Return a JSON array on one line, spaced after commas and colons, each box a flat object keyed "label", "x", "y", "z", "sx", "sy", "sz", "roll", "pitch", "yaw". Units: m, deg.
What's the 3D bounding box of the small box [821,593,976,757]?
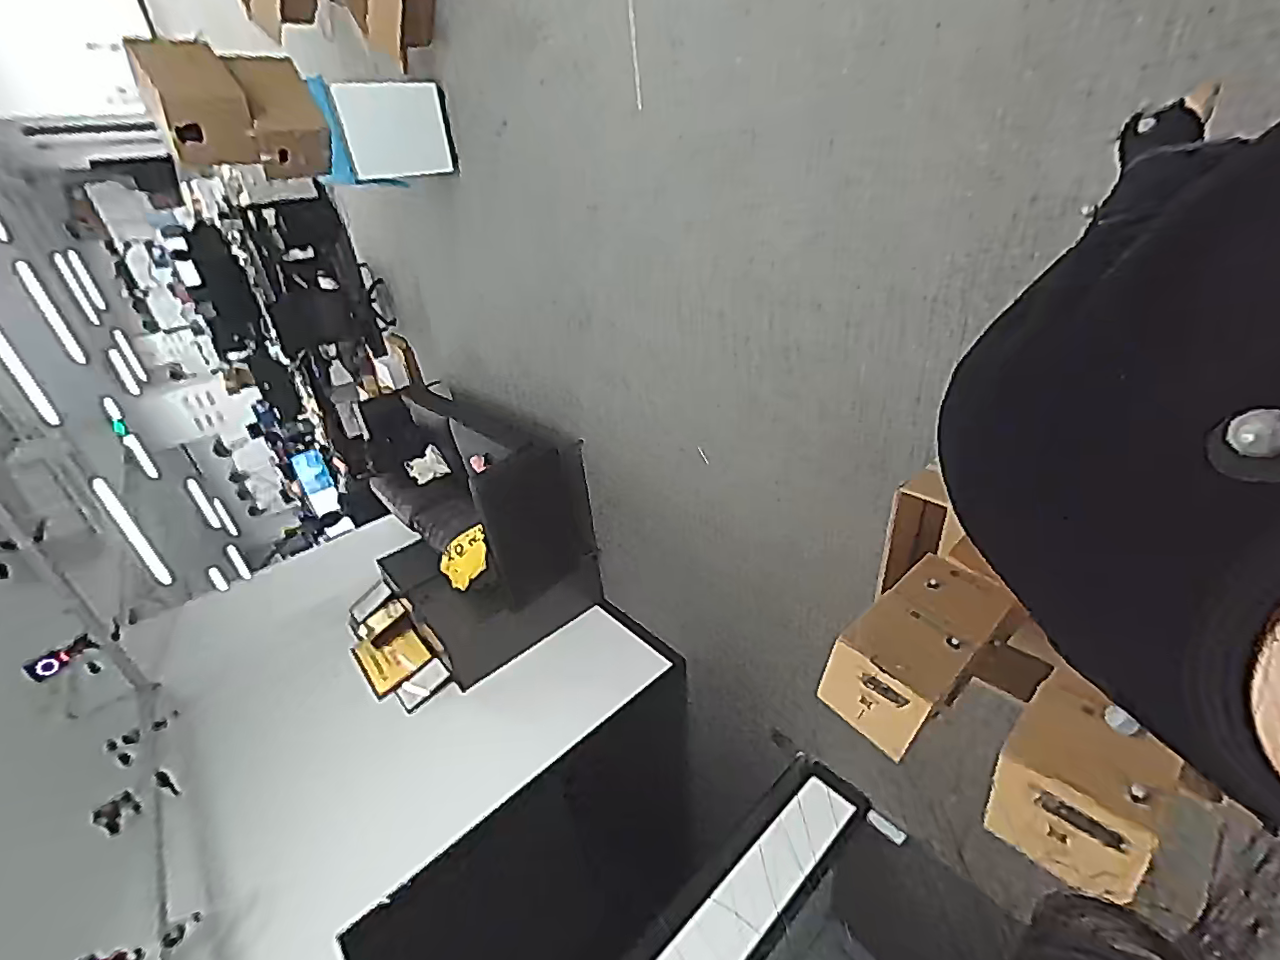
[{"label": "small box", "x": 0.453, "y": 0.333, "z": 0.951, "sx": 0.168, "sy": 0.176, "sz": 0.179, "roll": 37, "pitch": 141, "yaw": 38}]

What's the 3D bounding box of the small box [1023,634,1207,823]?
[{"label": "small box", "x": 0.752, "y": 0.381, "z": 0.860, "sx": 0.168, "sy": 0.176, "sz": 0.179, "roll": 26, "pitch": 132, "yaw": 46}]

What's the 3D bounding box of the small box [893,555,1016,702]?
[{"label": "small box", "x": 0.582, "y": 0.275, "z": 1.035, "sx": 0.168, "sy": 0.176, "sz": 0.179, "roll": 34, "pitch": 138, "yaw": 40}]
